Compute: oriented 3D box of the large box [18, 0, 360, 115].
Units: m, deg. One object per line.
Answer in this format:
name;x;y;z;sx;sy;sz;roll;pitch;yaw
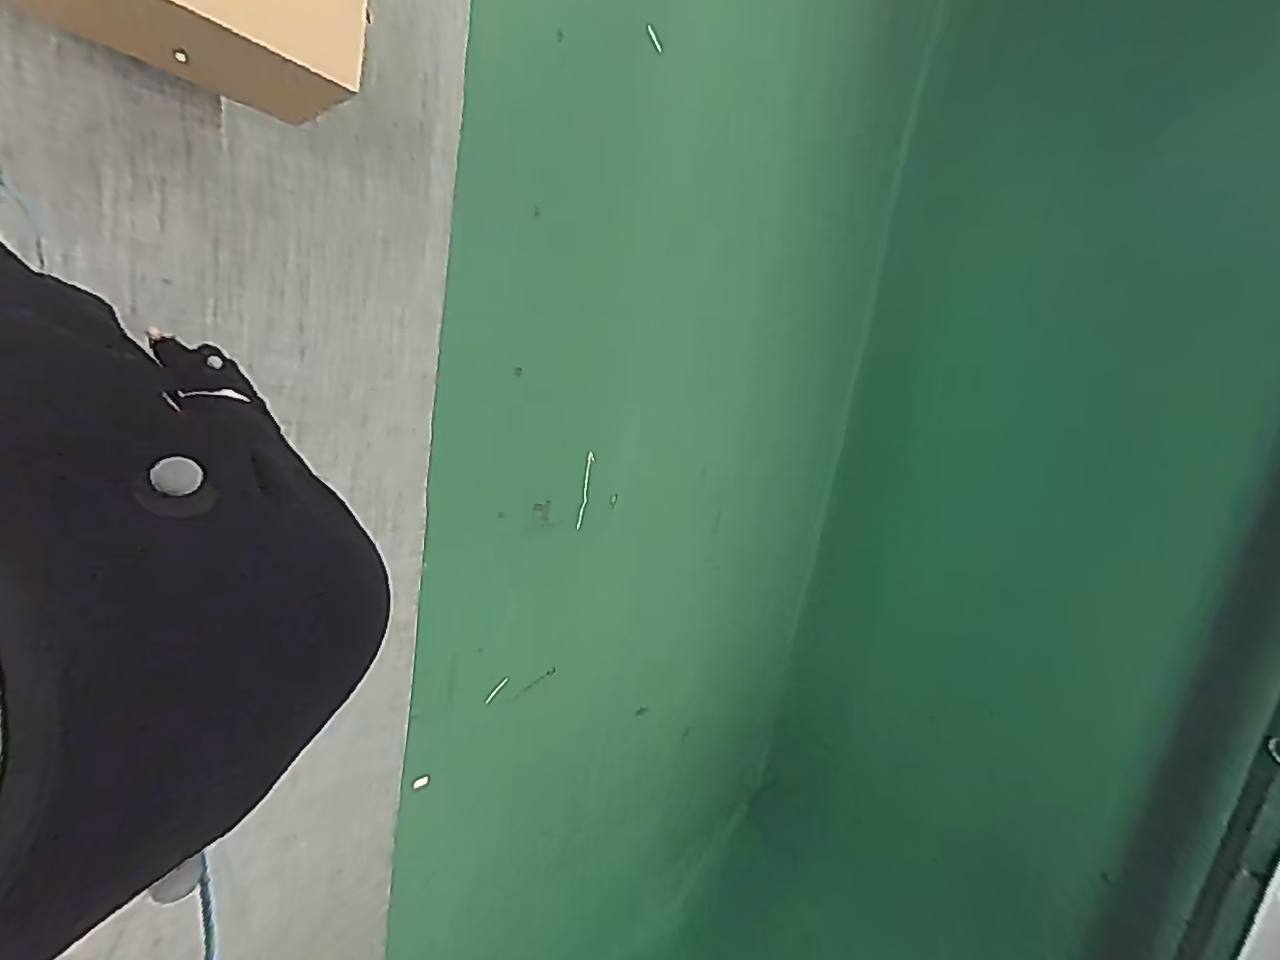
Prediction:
large box;-0.681;-0.824;0.809;0.408;0.320;0.320;-1;104;-49
